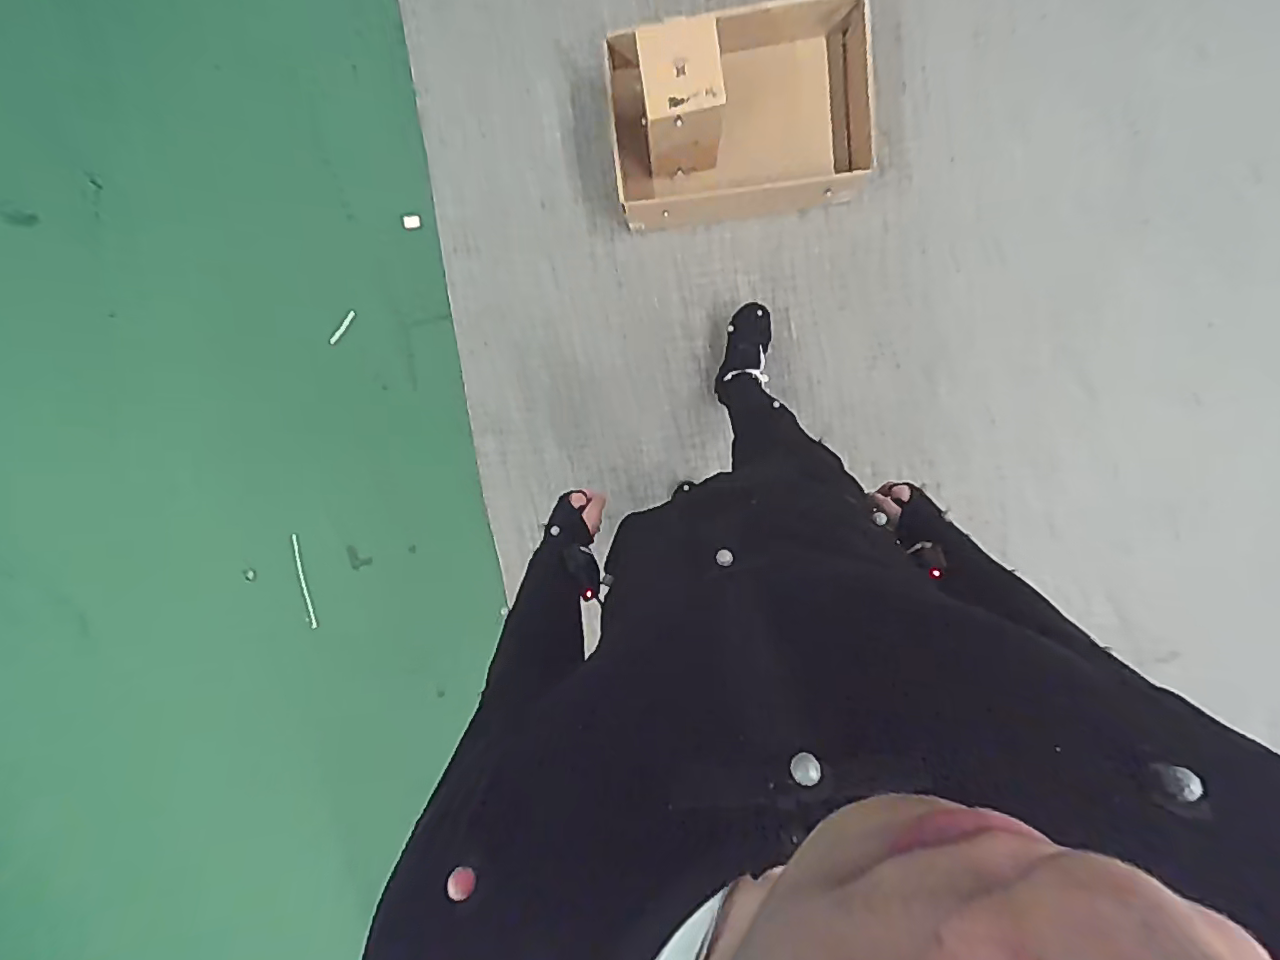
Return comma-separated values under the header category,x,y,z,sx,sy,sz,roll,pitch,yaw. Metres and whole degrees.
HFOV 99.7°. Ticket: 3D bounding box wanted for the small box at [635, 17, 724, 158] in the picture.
category,x,y,z,sx,sy,sz,roll,pitch,yaw
small box,0.084,-0.844,1.179,0.168,0.176,0.179,-8,97,5
